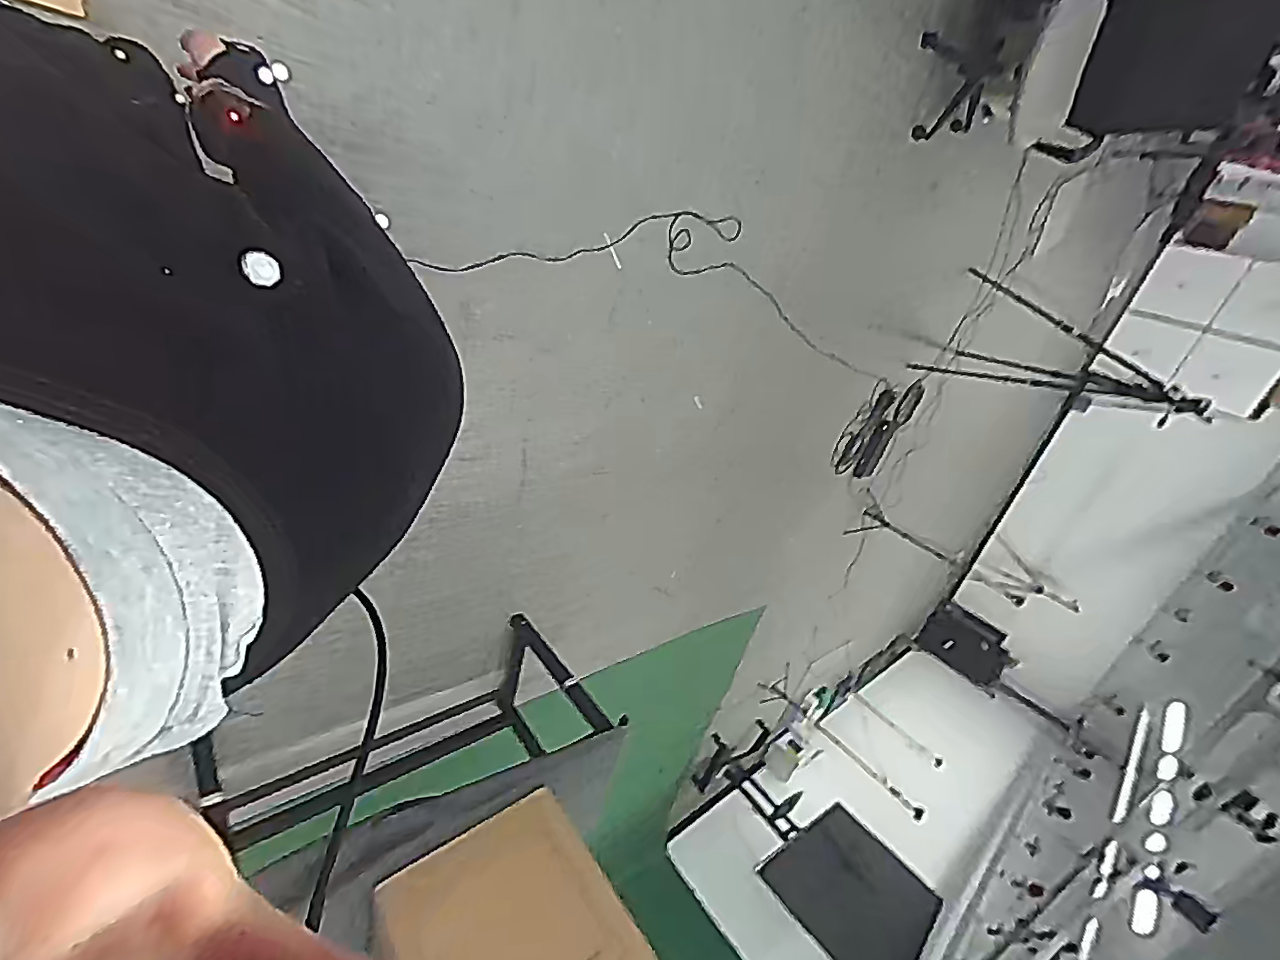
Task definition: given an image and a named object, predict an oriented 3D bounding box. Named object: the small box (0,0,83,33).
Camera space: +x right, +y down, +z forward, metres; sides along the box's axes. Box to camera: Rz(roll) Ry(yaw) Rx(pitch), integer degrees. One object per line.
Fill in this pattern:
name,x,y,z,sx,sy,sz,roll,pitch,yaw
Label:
small box,-0.961,-0.803,0.802,0.168,0.176,0.179,-10,125,-40
